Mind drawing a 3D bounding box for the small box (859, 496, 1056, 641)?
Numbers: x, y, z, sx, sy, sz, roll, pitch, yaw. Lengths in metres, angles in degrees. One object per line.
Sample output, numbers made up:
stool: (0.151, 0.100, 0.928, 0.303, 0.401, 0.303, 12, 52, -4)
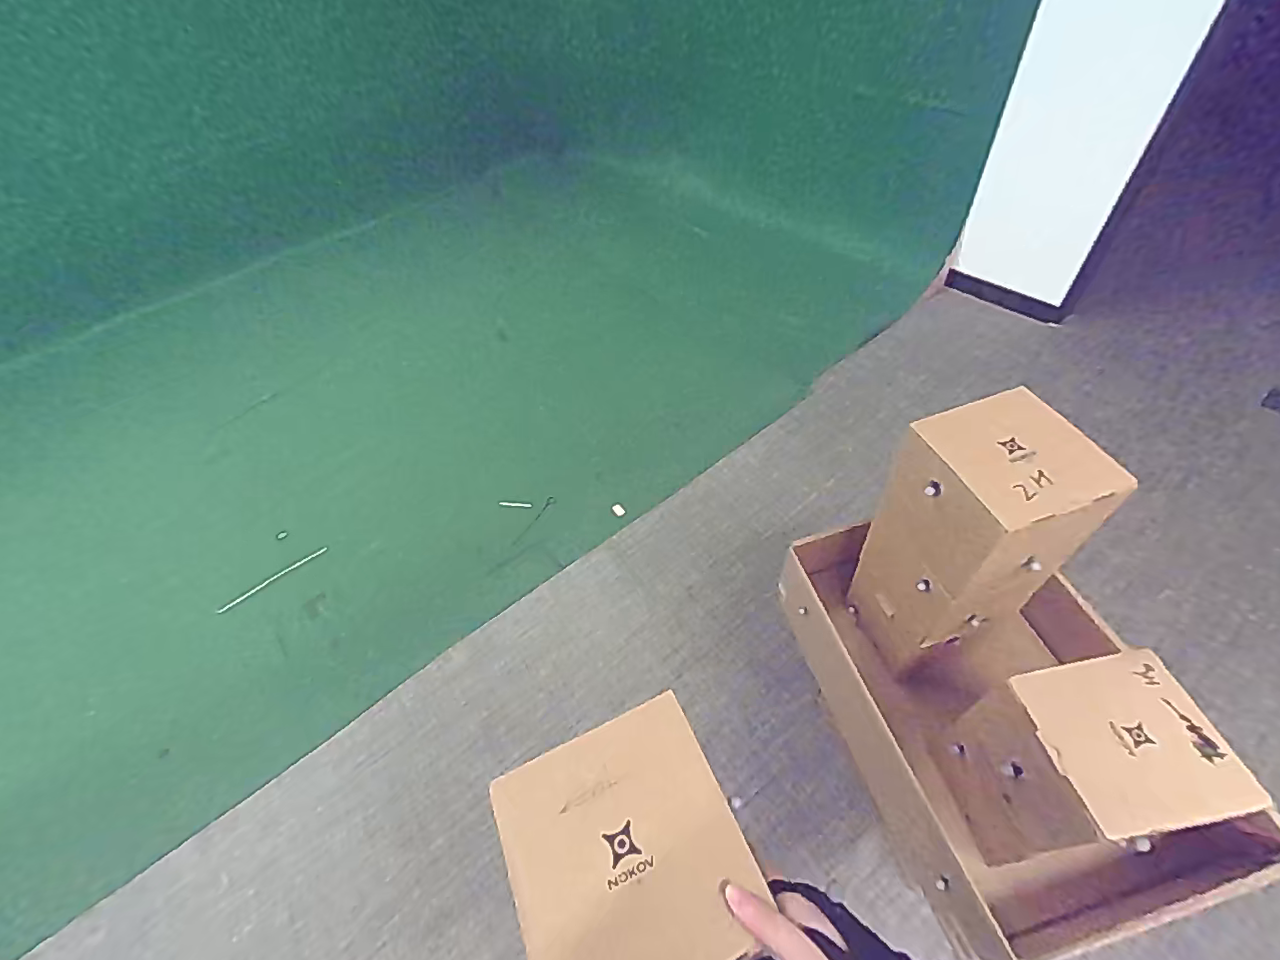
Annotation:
small box: (0.463, 0.116, 0.826, 0.168, 0.176, 0.179, -17, 52, -5)

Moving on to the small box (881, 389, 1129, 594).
small box: (0.442, 0.017, 0.696, 0.168, 0.176, 0.179, -18, 53, -5)

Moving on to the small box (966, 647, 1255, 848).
small box: (0.526, 0.324, 0.647, 0.179, 0.176, 0.168, -11, 51, 0)

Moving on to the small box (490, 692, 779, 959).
small box: (-0.004, 0.316, 0.456, 0.168, 0.176, 0.179, -22, 53, -10)
